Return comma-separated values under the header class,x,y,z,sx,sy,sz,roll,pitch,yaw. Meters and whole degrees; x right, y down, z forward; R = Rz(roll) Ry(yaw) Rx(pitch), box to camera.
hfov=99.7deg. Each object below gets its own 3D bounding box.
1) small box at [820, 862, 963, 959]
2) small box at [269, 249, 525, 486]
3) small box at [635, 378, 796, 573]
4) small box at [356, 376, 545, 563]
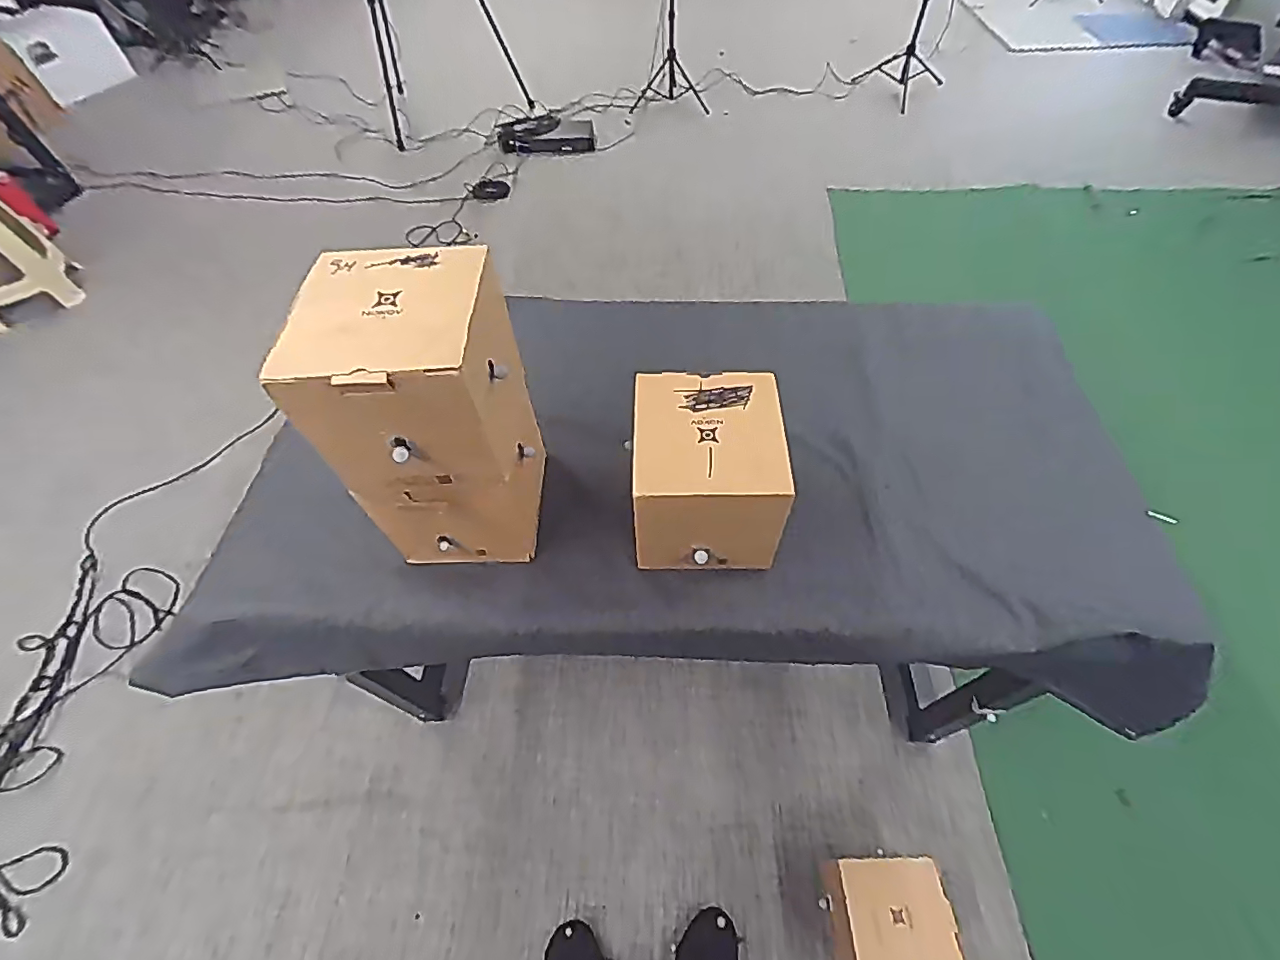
class,x,y,z,sx,sy,sz,roll,pitch,yaw
small box,0.443,0.791,0.973,0.179,0.176,0.168,-2,54,2
small box,-0.218,-0.104,0.545,0.168,0.176,0.179,-2,56,0
small box,0.081,-0.004,0.659,0.168,0.176,0.179,0,54,3
small box,-0.218,-0.011,0.680,0.168,0.176,0.179,-1,55,1
